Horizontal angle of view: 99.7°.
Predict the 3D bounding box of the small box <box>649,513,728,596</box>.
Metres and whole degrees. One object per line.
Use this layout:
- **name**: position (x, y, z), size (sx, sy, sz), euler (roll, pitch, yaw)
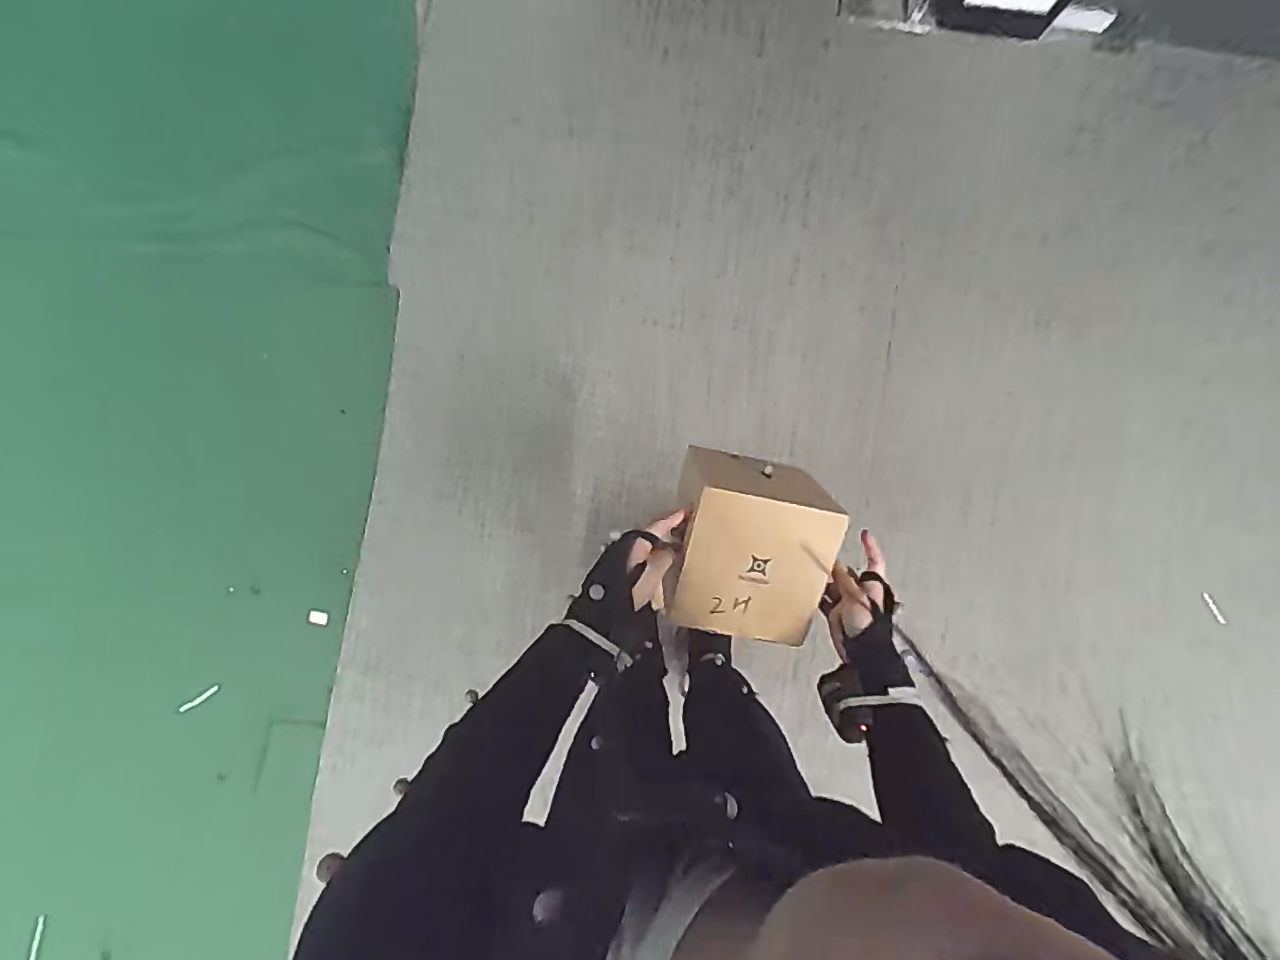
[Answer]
- **small box**: position (0.115, 0.181, 1.365), size (0.168, 0.176, 0.179), euler (9, 89, -1)
